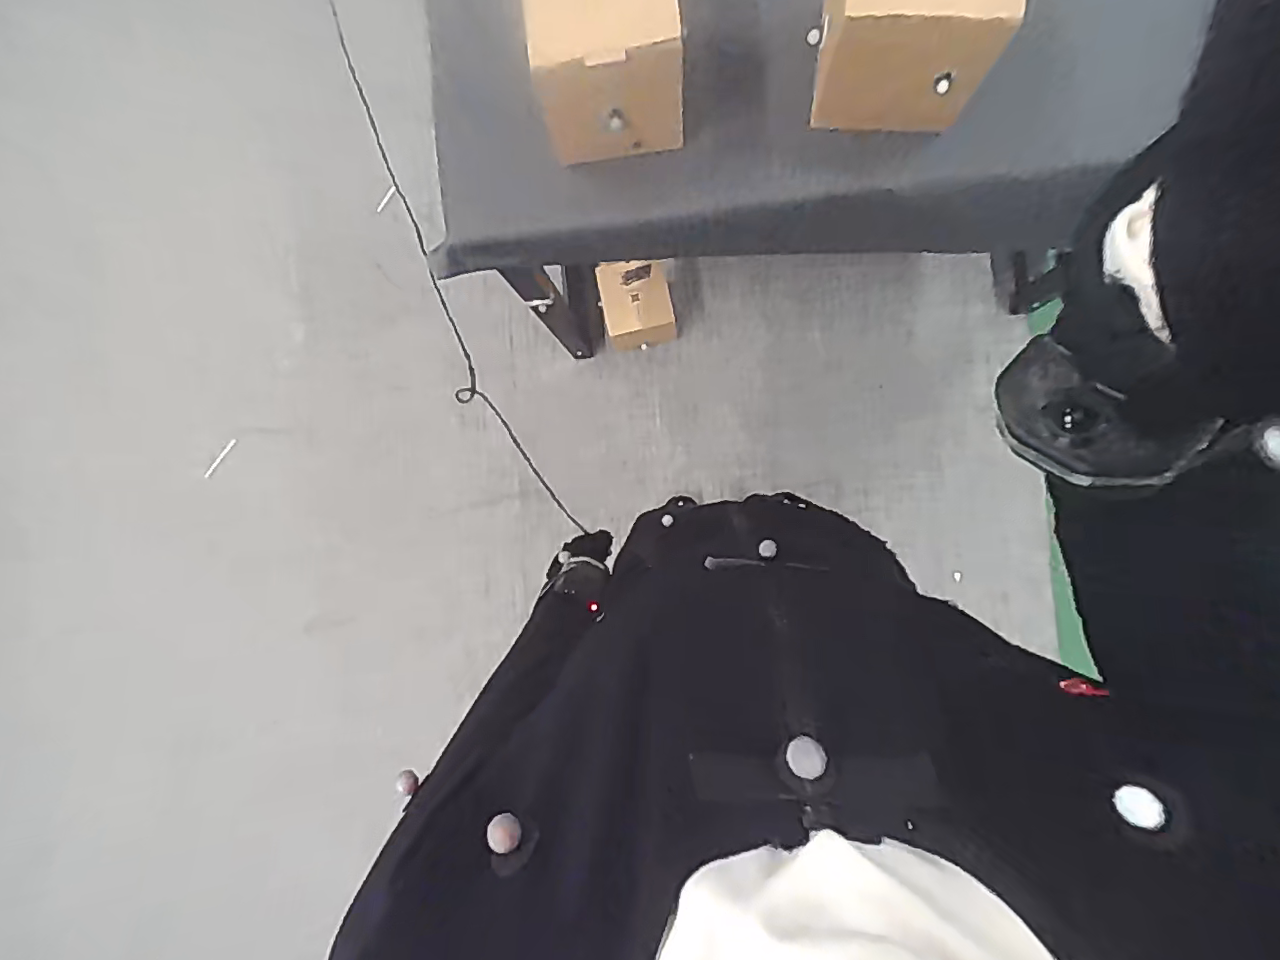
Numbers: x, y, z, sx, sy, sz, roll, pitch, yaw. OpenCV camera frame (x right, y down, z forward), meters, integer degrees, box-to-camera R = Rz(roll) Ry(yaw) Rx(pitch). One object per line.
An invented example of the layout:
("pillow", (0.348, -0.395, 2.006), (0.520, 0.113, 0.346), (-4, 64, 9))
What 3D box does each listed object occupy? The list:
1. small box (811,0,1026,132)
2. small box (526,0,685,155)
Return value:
("small box", (0.310, -0.537, 0.626), (0.179, 0.176, 0.168), (5, 87, 6))
("small box", (-0.036, -0.525, 0.654), (0.168, 0.176, 0.179), (-7, 87, 4))
